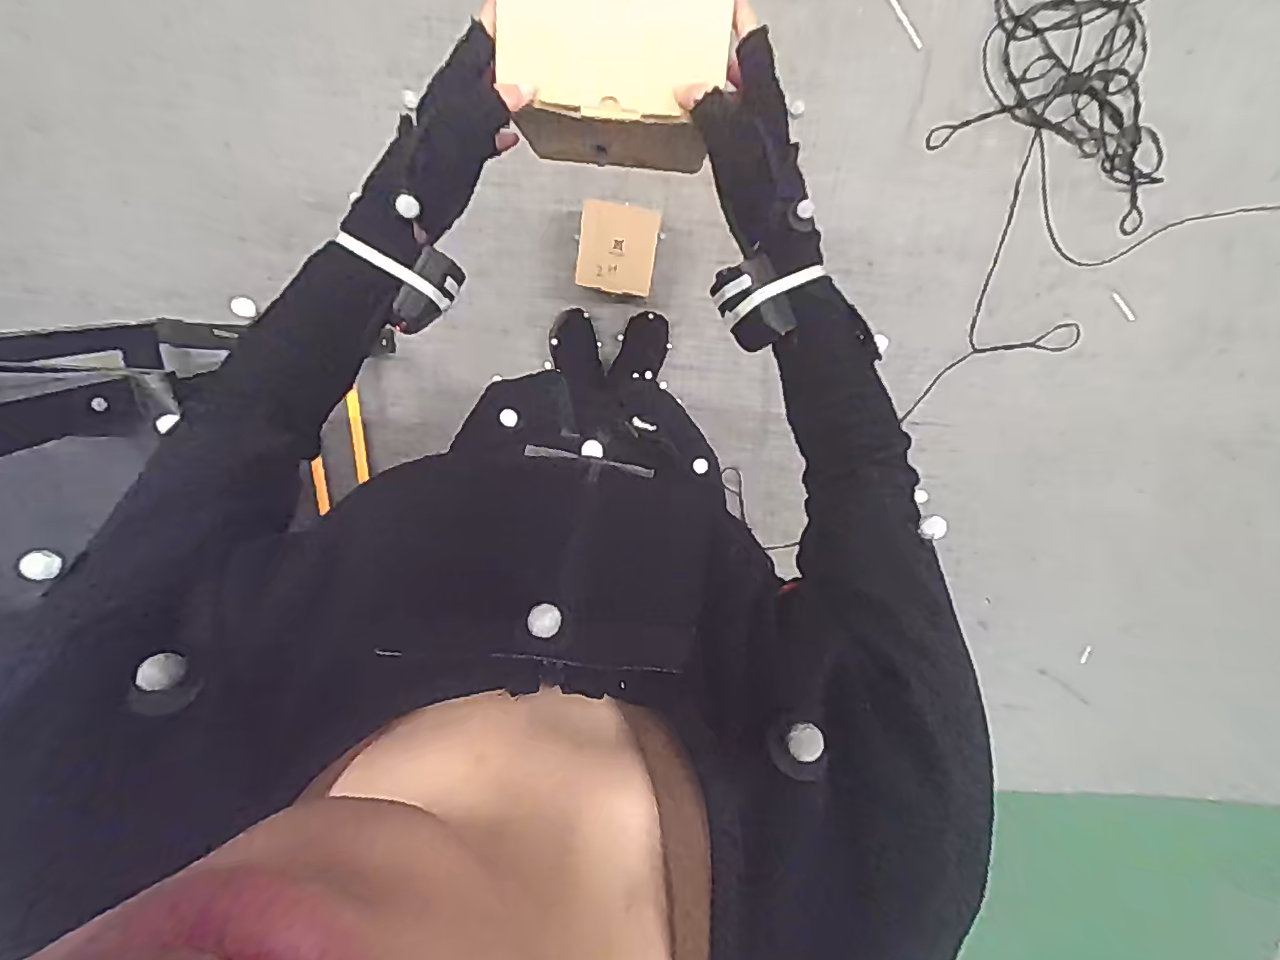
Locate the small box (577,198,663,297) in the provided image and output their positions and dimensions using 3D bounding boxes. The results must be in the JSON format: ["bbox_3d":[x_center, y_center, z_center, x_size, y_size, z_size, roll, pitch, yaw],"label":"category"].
[{"bbox_3d":[-0.047,-0.525,1.236,0.168,0.176,0.179,9,110,-3],"label":"small box"}]
